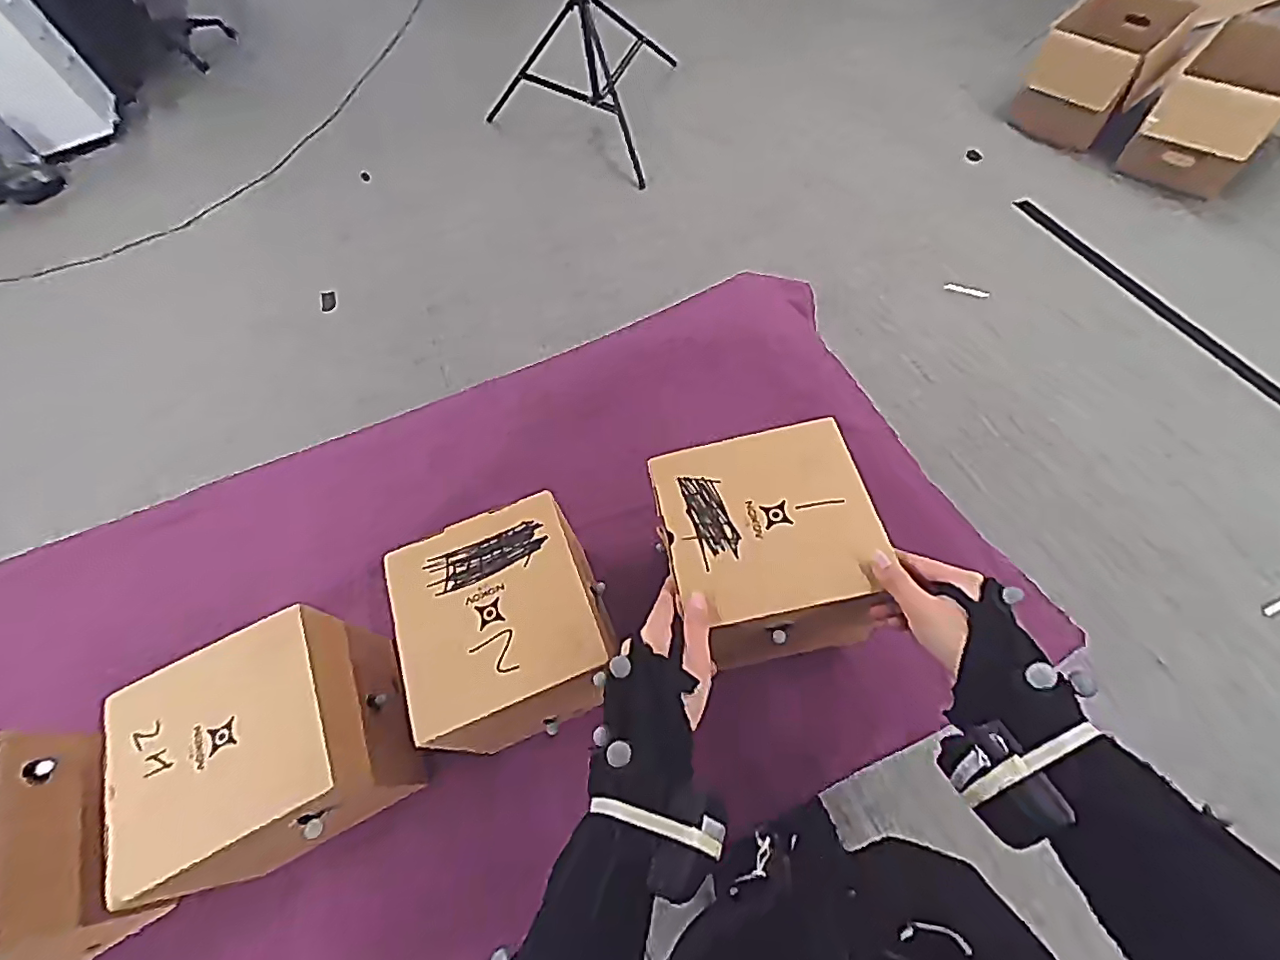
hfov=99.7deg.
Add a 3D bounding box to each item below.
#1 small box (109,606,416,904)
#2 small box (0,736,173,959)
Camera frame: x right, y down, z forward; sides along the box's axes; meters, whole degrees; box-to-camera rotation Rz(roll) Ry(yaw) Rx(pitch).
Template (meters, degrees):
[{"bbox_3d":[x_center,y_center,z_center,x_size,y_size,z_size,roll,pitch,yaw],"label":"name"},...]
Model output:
[{"bbox_3d":[-0.336,0.248,0.512,0.179,0.176,0.168,-27,62,-8],"label":"small box"},{"bbox_3d":[-0.569,0.354,0.485,0.168,0.176,0.179,-30,62,-9],"label":"small box"}]
